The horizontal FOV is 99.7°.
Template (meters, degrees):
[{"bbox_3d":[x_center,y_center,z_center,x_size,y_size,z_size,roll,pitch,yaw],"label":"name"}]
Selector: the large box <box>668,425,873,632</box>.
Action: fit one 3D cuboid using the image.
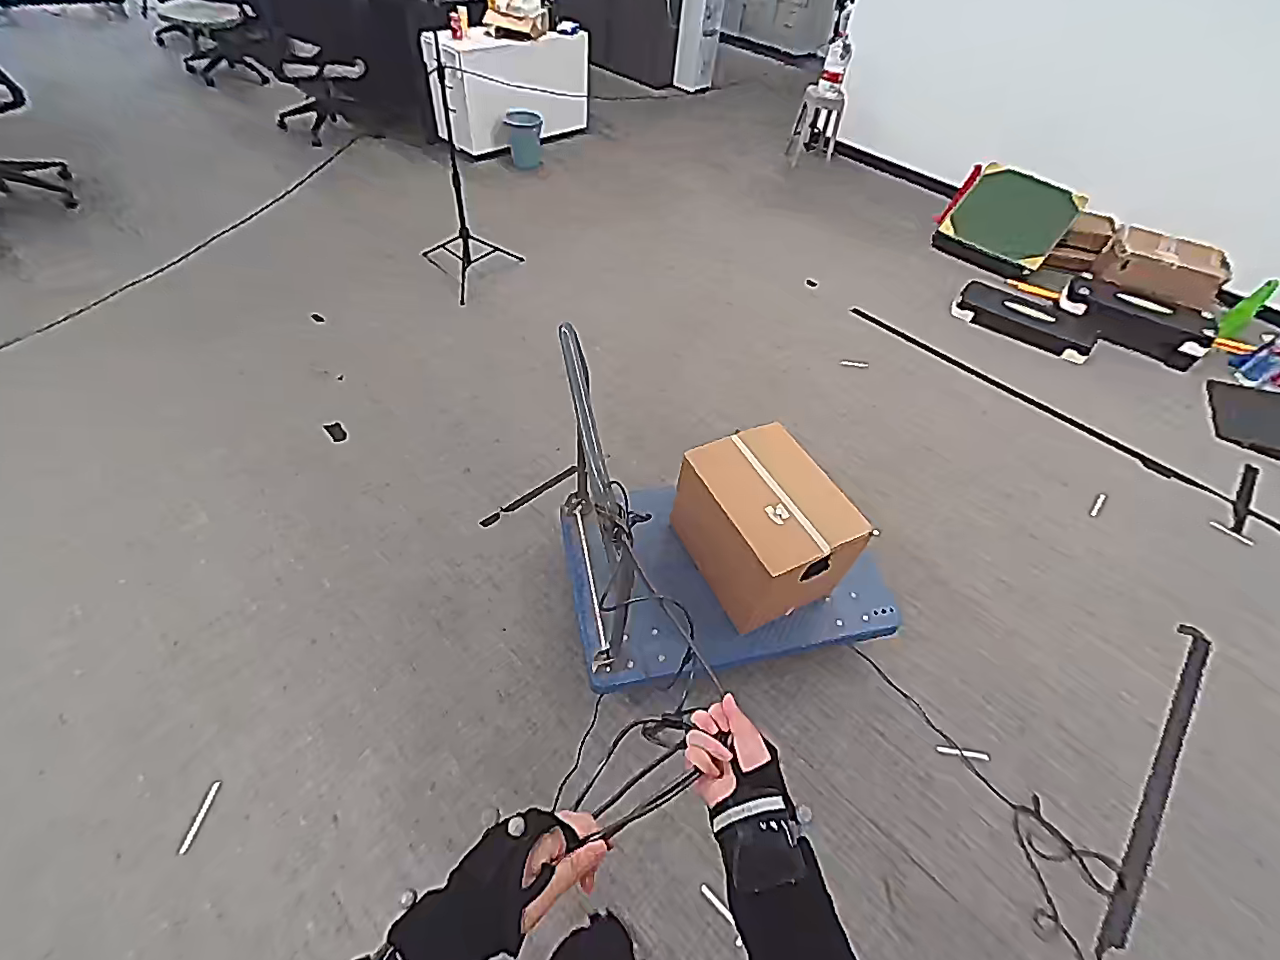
[{"bbox_3d":[0.319,0.124,1.455,0.320,0.320,0.408,-19,56,-20],"label":"large box"}]
